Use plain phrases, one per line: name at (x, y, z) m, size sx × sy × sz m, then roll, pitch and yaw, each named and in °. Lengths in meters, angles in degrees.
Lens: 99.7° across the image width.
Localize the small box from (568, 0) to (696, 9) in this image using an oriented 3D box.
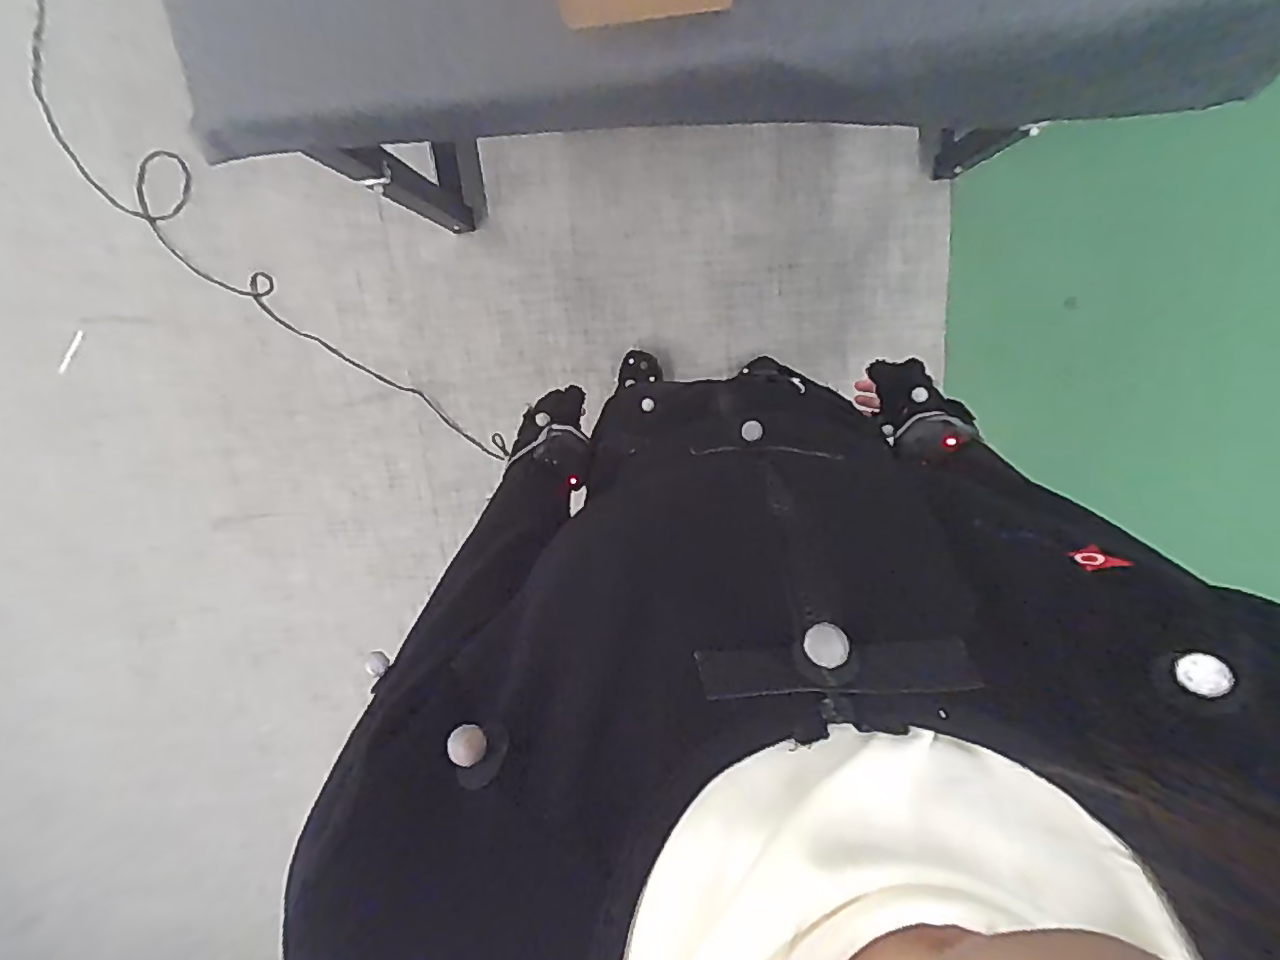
small box at (0.000, -0.549, 0.463) m, size 0.179 × 0.176 × 0.168 m, roll -4°, pitch 104°, yaw 3°
